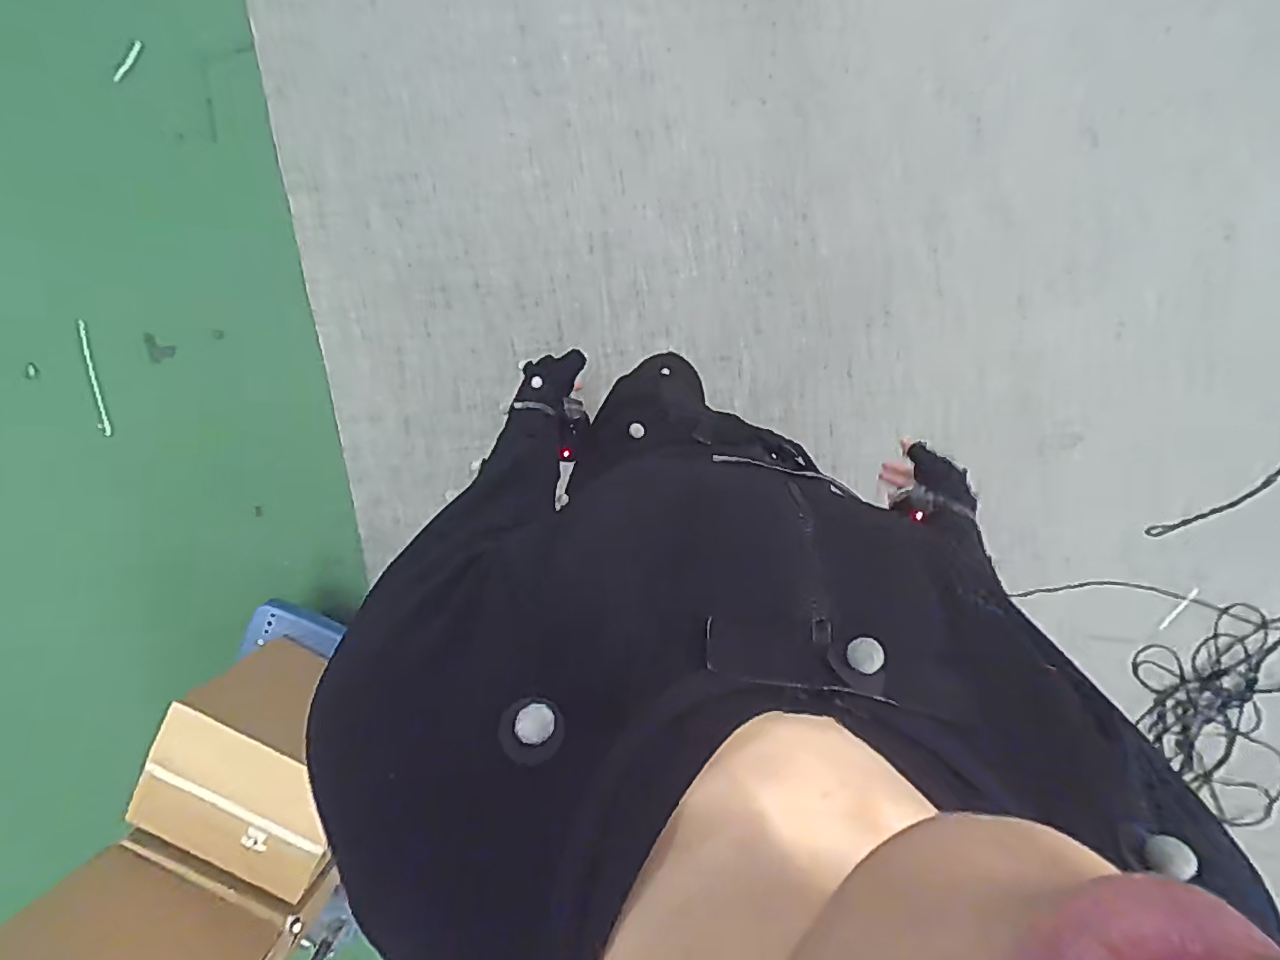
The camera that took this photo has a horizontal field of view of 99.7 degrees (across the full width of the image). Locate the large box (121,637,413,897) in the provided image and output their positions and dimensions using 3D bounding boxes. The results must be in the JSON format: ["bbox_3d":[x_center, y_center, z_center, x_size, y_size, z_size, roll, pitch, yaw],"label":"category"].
[{"bbox_3d":[-0.825,0.631,1.249,0.408,0.320,0.320,28,98,-2],"label":"large box"}]
